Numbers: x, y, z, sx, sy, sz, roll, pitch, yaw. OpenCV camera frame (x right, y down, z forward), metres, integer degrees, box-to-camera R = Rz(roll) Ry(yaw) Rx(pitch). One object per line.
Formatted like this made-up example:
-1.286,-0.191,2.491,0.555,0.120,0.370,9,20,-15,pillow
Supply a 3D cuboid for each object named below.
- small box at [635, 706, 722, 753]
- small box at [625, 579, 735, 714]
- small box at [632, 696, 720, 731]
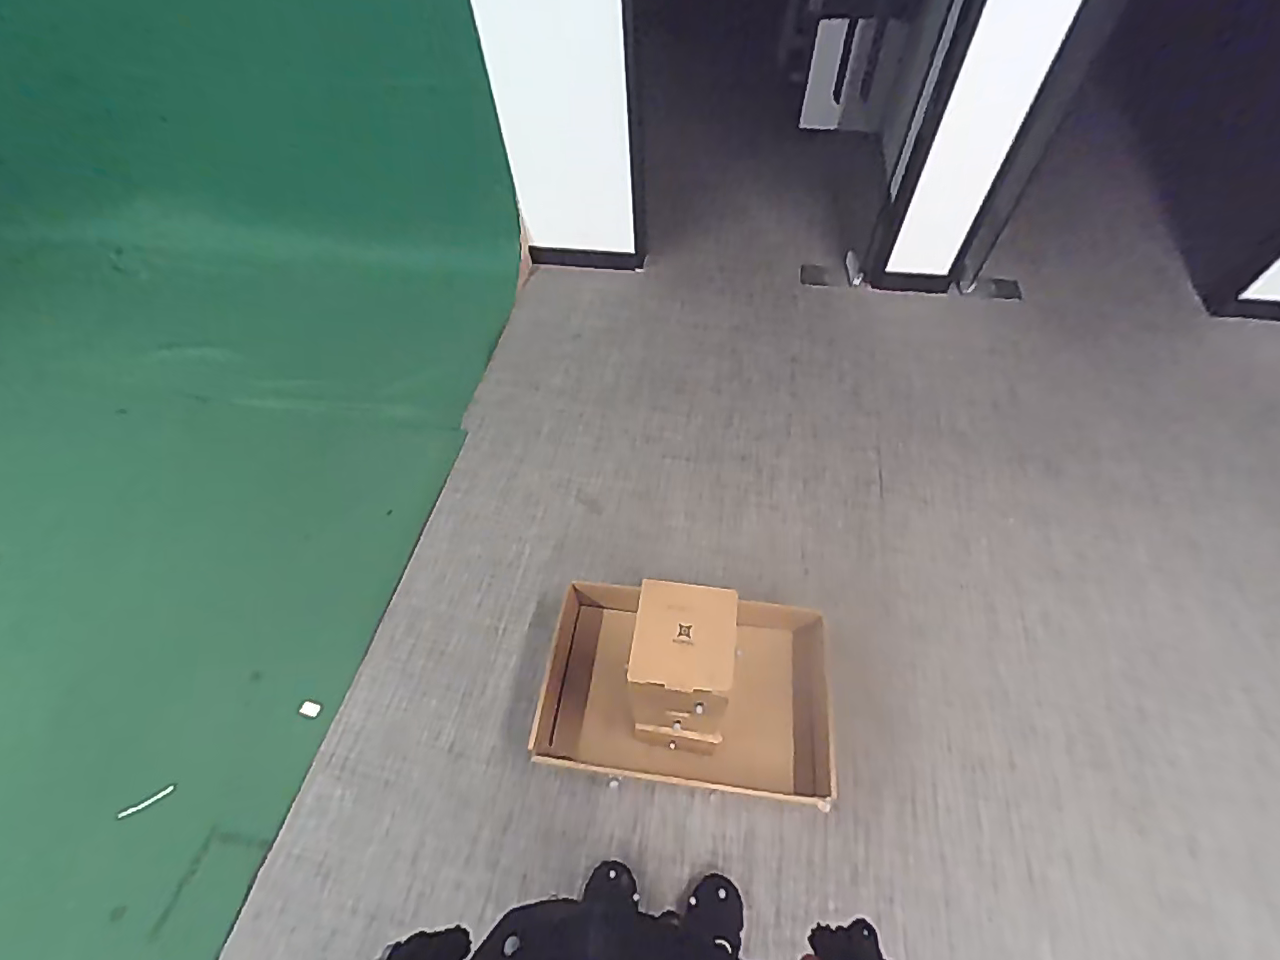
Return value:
0.093,0.504,1.222,0.179,0.176,0.168,7,55,10,small box
0.072,0.297,0.950,0.168,0.176,0.179,6,55,6,small box
0.082,0.399,1.101,0.168,0.176,0.179,3,55,7,small box
